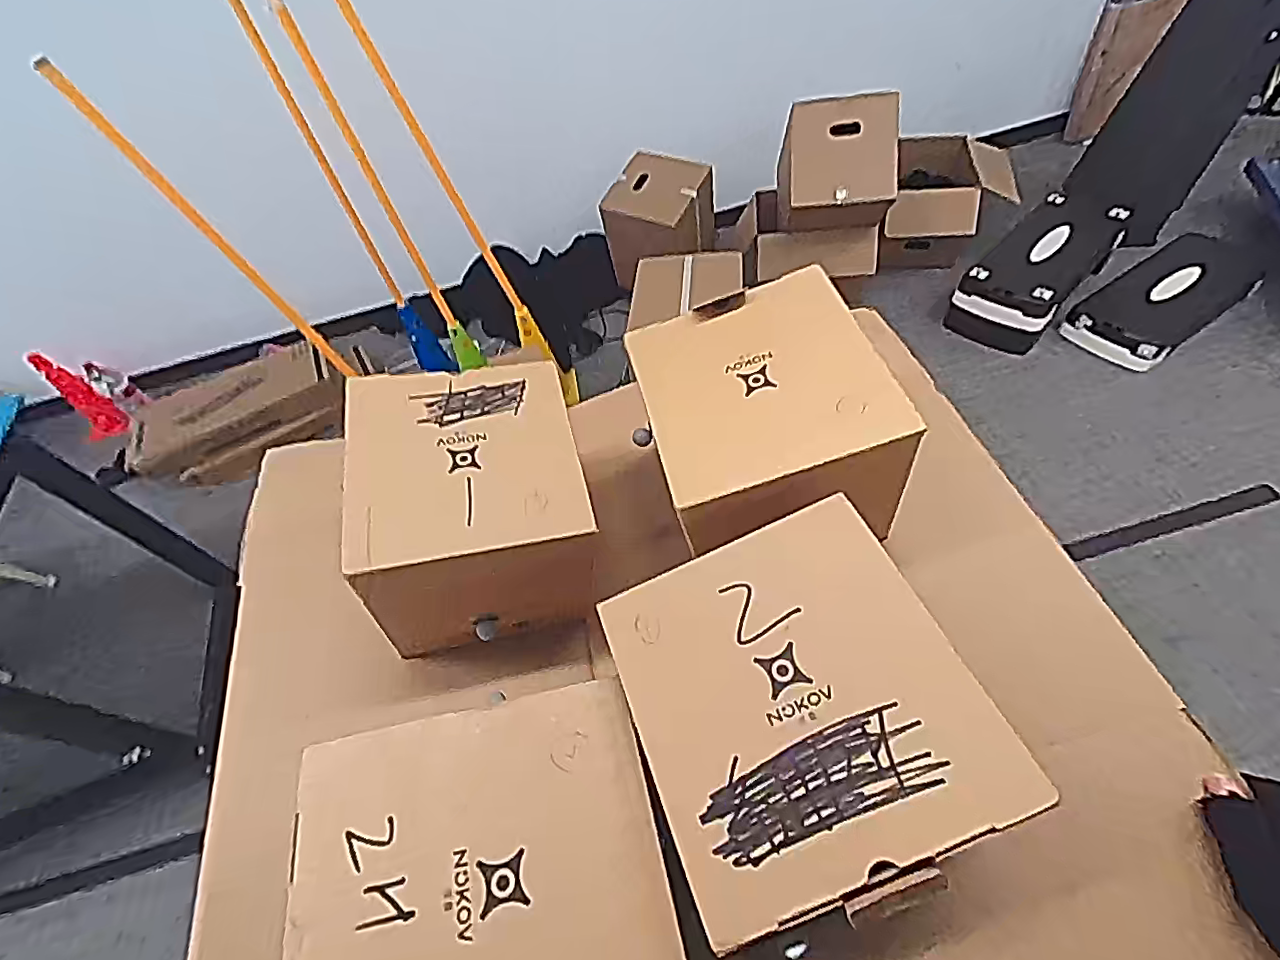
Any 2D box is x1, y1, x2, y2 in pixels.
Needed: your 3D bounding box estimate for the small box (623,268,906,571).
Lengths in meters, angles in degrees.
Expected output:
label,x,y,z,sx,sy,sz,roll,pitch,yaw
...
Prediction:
label,x,y,z,sx,sy,sz,roll,pitch,yaw
small box,0.100,-0.038,0.465,0.168,0.176,0.179,-18,55,5
